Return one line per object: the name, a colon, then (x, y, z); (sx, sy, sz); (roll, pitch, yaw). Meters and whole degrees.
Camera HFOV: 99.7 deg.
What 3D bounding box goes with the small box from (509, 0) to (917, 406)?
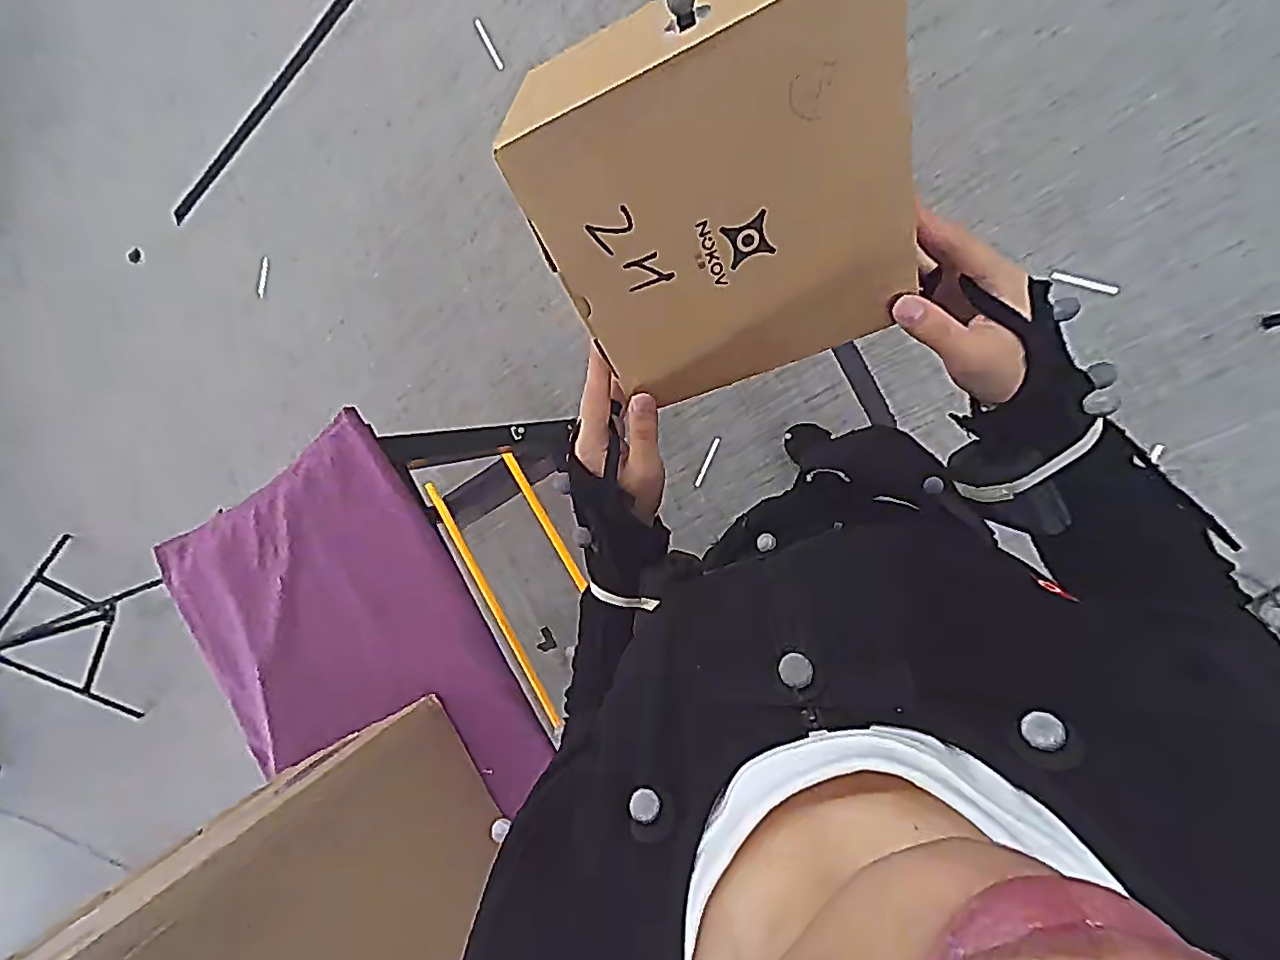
small box: (0.045, -0.180, 0.330); (0.179, 0.176, 0.168); (-17, 134, 15)
